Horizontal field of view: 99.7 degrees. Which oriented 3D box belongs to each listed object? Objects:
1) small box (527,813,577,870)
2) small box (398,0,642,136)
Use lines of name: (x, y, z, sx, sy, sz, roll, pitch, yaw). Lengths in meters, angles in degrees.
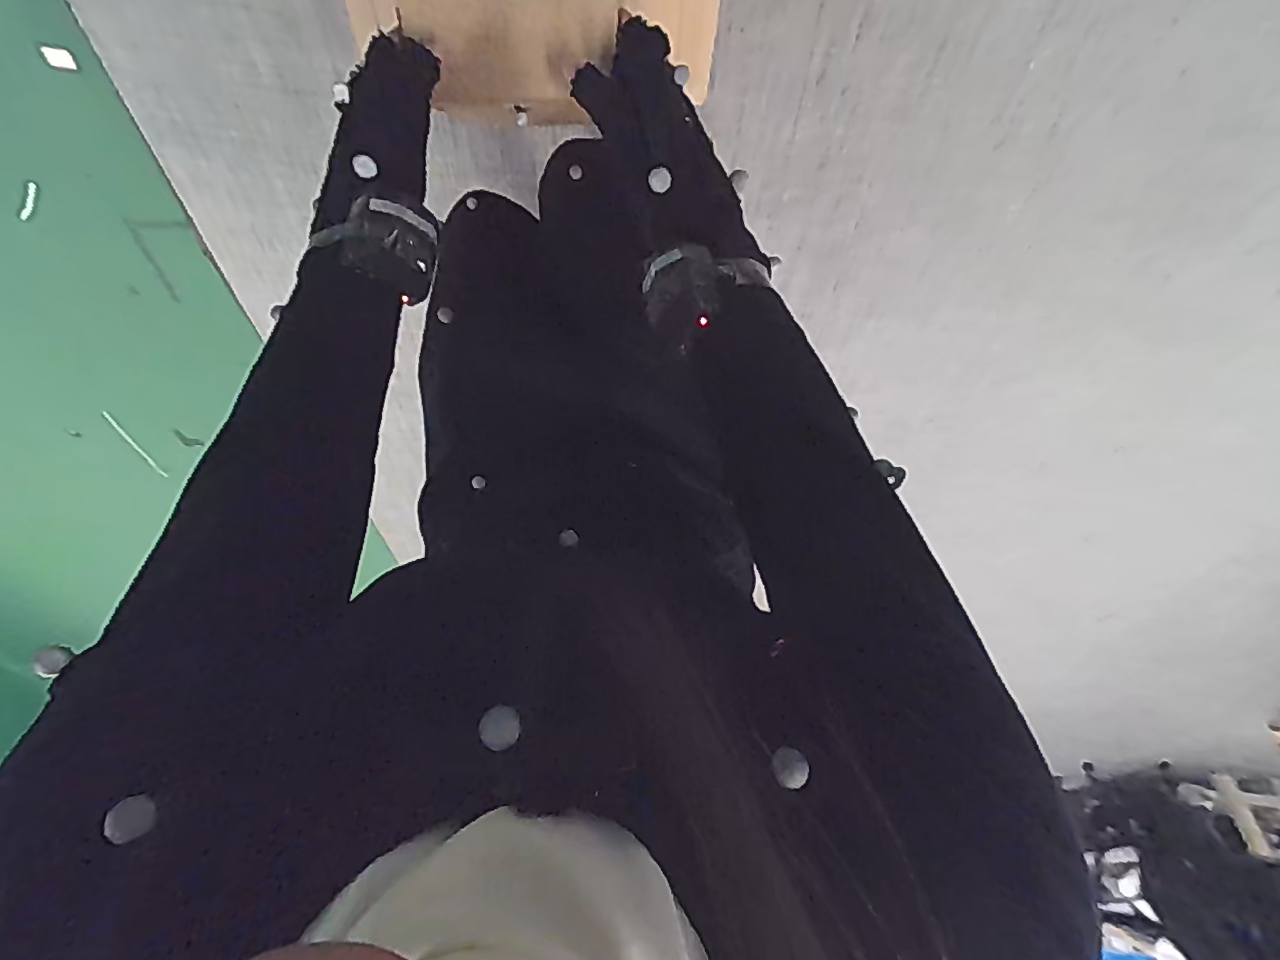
small box: (-0.358, 1.489, 2.227, 0.168, 0.176, 0.179, 5, 140, 3)
small box: (-0.093, -0.412, 0.474, 0.179, 0.176, 0.168, 1, 115, 5)
